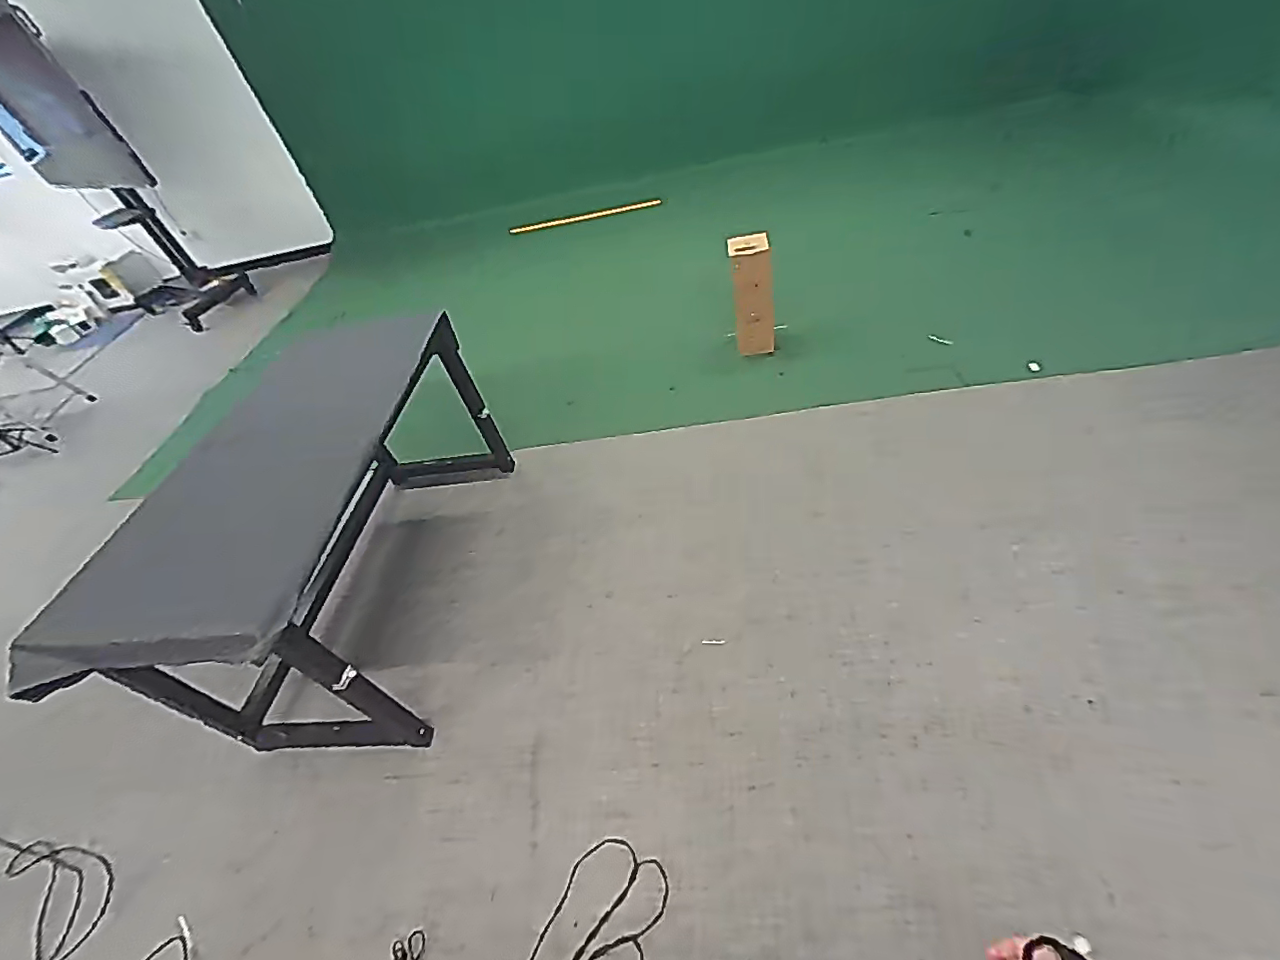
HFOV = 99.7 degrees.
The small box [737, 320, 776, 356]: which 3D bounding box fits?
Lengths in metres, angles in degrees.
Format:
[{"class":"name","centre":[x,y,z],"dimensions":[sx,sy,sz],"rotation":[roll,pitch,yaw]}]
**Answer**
[{"class":"small box","centre":[0.550,-0.706,2.568],"dimensions":[0.168,0.176,0.179],"rotation":[-8,44,10]}]

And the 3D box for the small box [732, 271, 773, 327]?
[{"class":"small box","centre":[0.510,-0.820,2.455],"dimensions":[0.168,0.176,0.179],"rotation":[-6,45,13]}]
